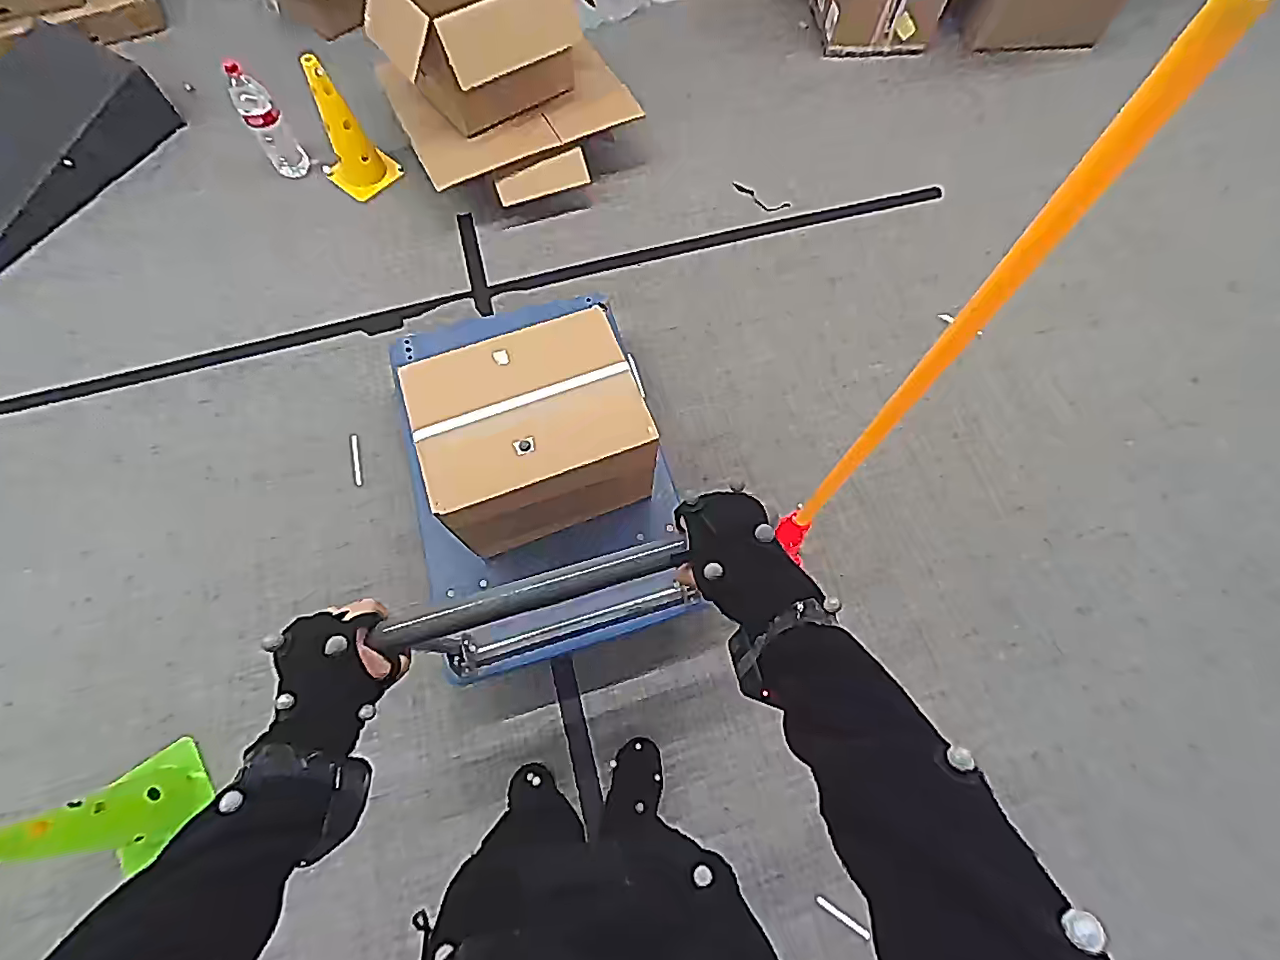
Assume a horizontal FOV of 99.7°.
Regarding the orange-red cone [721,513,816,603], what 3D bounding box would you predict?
[{"bbox_3d":[0.320,0.142,1.210,0.199,0.360,0.198,-9,70,-5],"label":"orange-red cone"}]
